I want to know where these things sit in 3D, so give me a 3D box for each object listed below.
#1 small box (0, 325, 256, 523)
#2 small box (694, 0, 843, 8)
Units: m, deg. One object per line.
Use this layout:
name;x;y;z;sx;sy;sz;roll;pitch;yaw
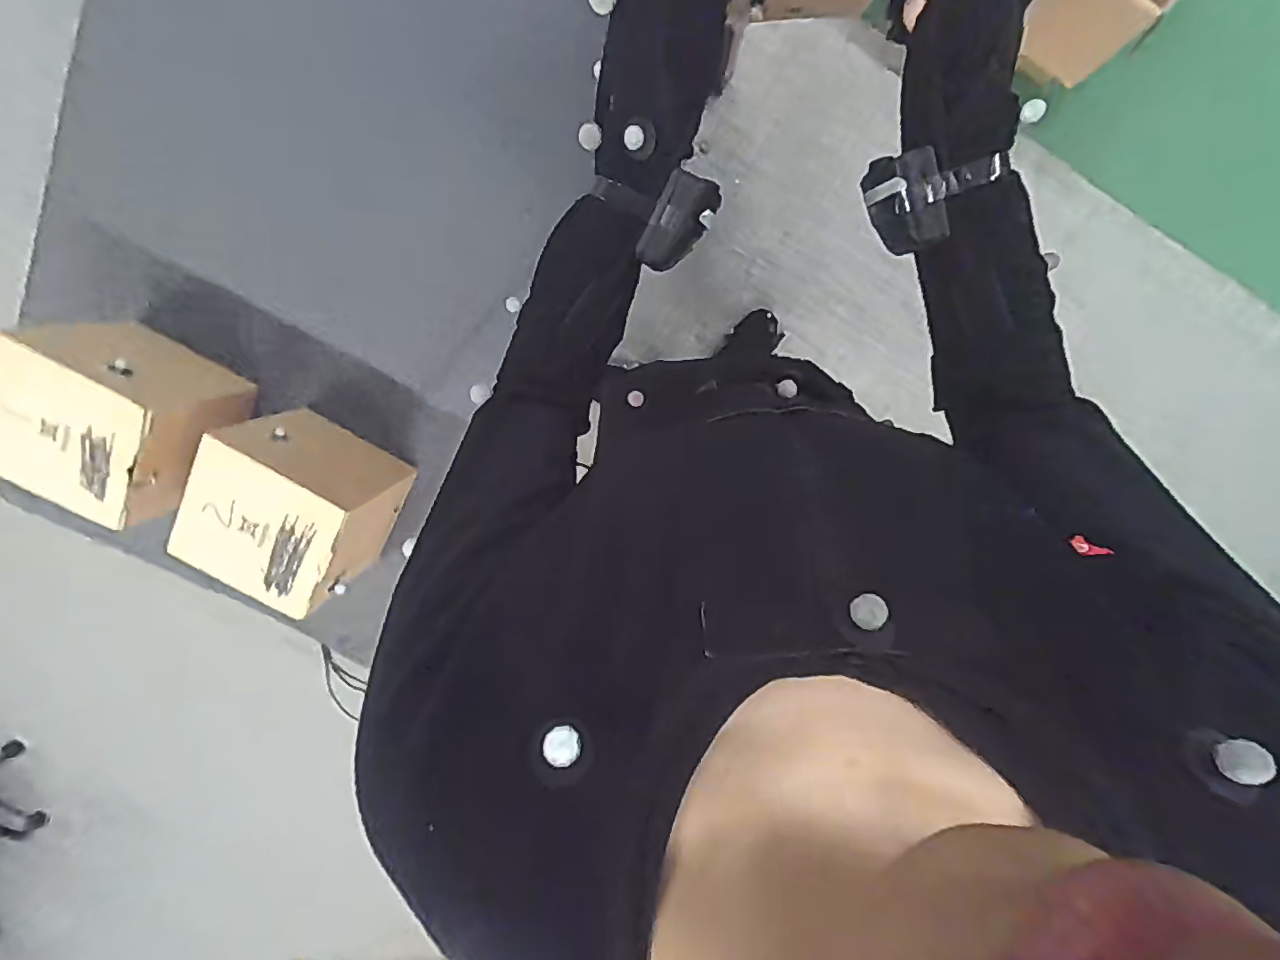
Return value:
small box;-0.629;-0.081;0.669;0.179;0.176;0.168;29;108;-6
small box;0.110;-0.456;0.364;0.168;0.176;0.179;0;120;4
